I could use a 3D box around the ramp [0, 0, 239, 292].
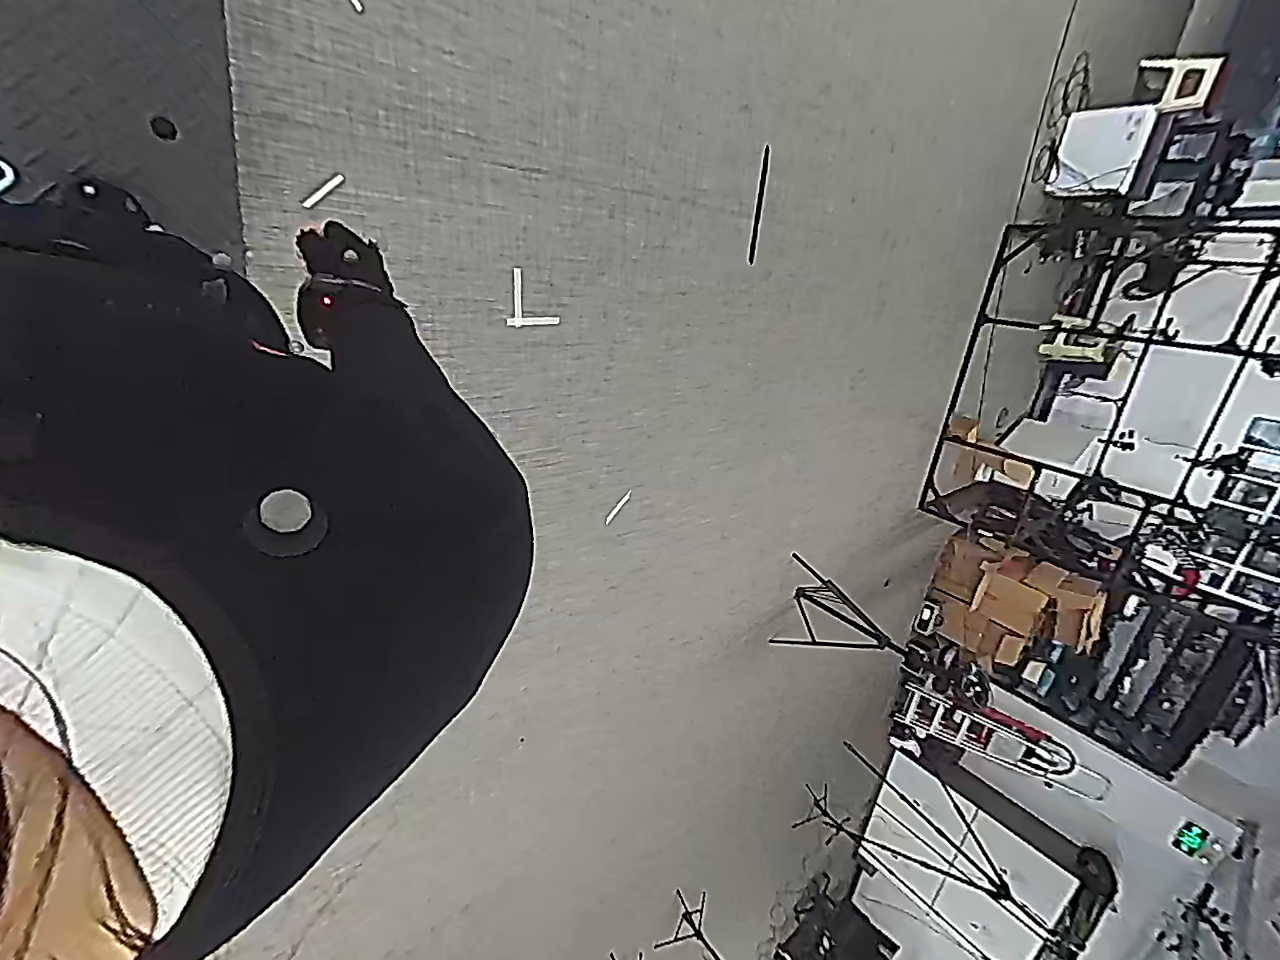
[{"bbox_3d":[-0.902,-0.788,0.757,0.509,0.206,0.991,-12,119,-40],"label":"ramp"}]
